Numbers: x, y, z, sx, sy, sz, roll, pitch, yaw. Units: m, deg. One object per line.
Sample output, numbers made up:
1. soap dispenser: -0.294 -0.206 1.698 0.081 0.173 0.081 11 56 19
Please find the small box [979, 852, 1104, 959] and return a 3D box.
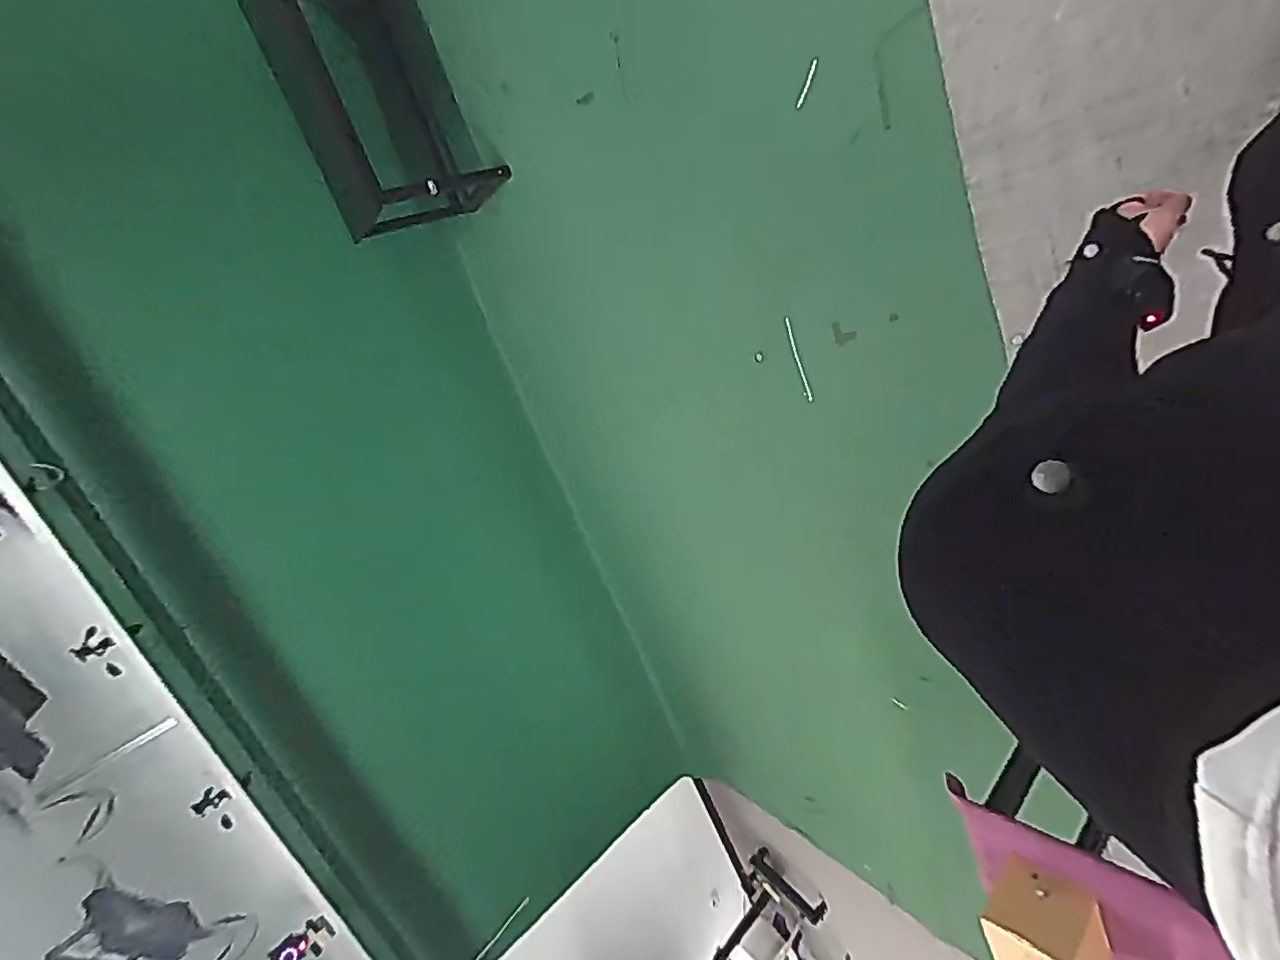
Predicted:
1. small box: 0.878 0.975 1.179 0.168 0.176 0.179 -2 116 55
